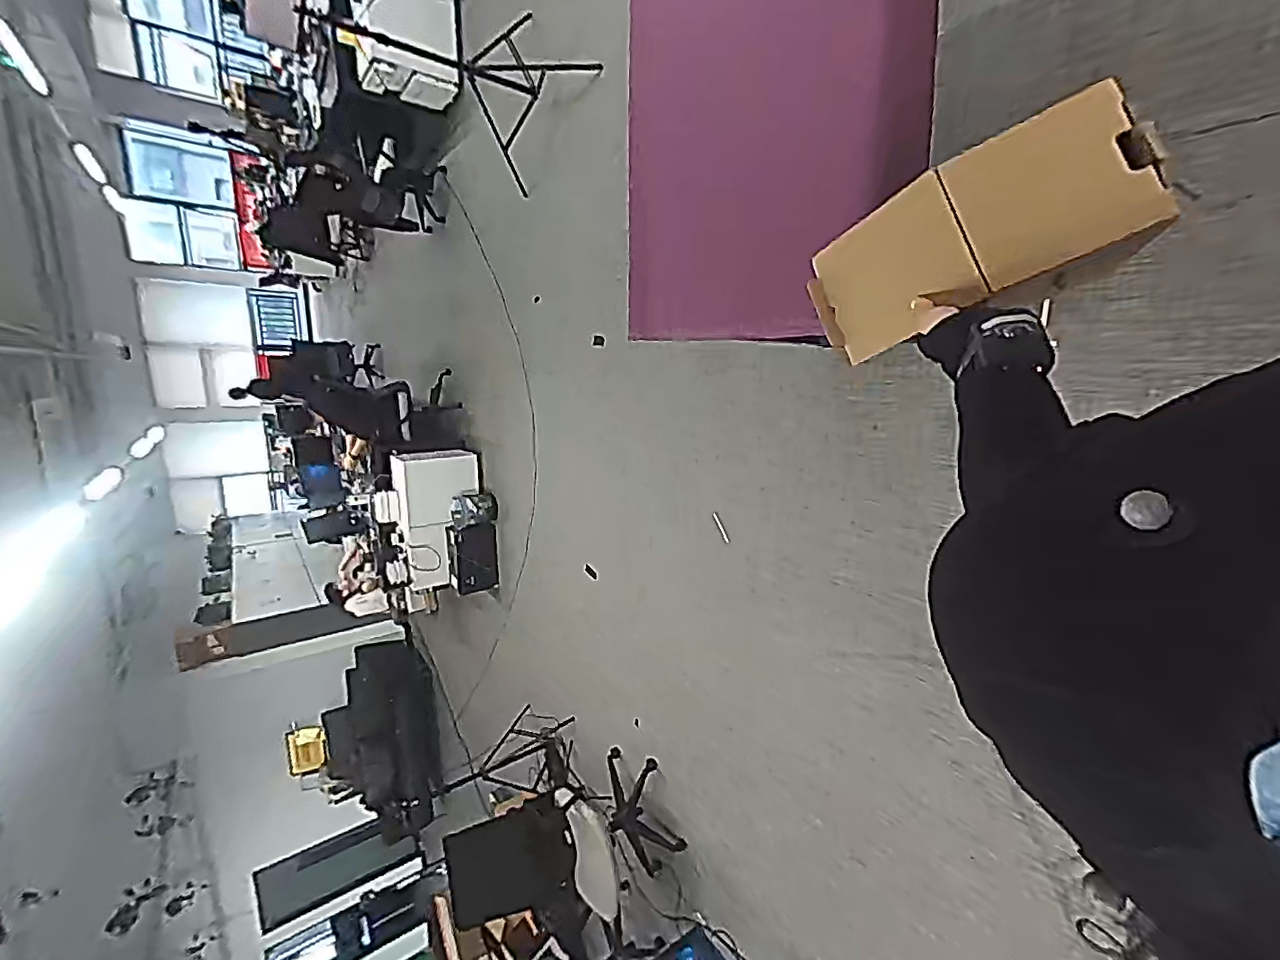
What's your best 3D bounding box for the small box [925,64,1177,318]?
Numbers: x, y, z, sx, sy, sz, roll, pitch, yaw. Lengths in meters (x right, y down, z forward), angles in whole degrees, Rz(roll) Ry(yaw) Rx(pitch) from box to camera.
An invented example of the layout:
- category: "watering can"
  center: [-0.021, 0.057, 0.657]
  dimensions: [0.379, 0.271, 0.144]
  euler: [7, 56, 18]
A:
- category: "small box"
  center: [0.455, -0.316, 0.639]
  dimensions: [0.179, 0.176, 0.168]
  euler: [-21, 83, 22]
